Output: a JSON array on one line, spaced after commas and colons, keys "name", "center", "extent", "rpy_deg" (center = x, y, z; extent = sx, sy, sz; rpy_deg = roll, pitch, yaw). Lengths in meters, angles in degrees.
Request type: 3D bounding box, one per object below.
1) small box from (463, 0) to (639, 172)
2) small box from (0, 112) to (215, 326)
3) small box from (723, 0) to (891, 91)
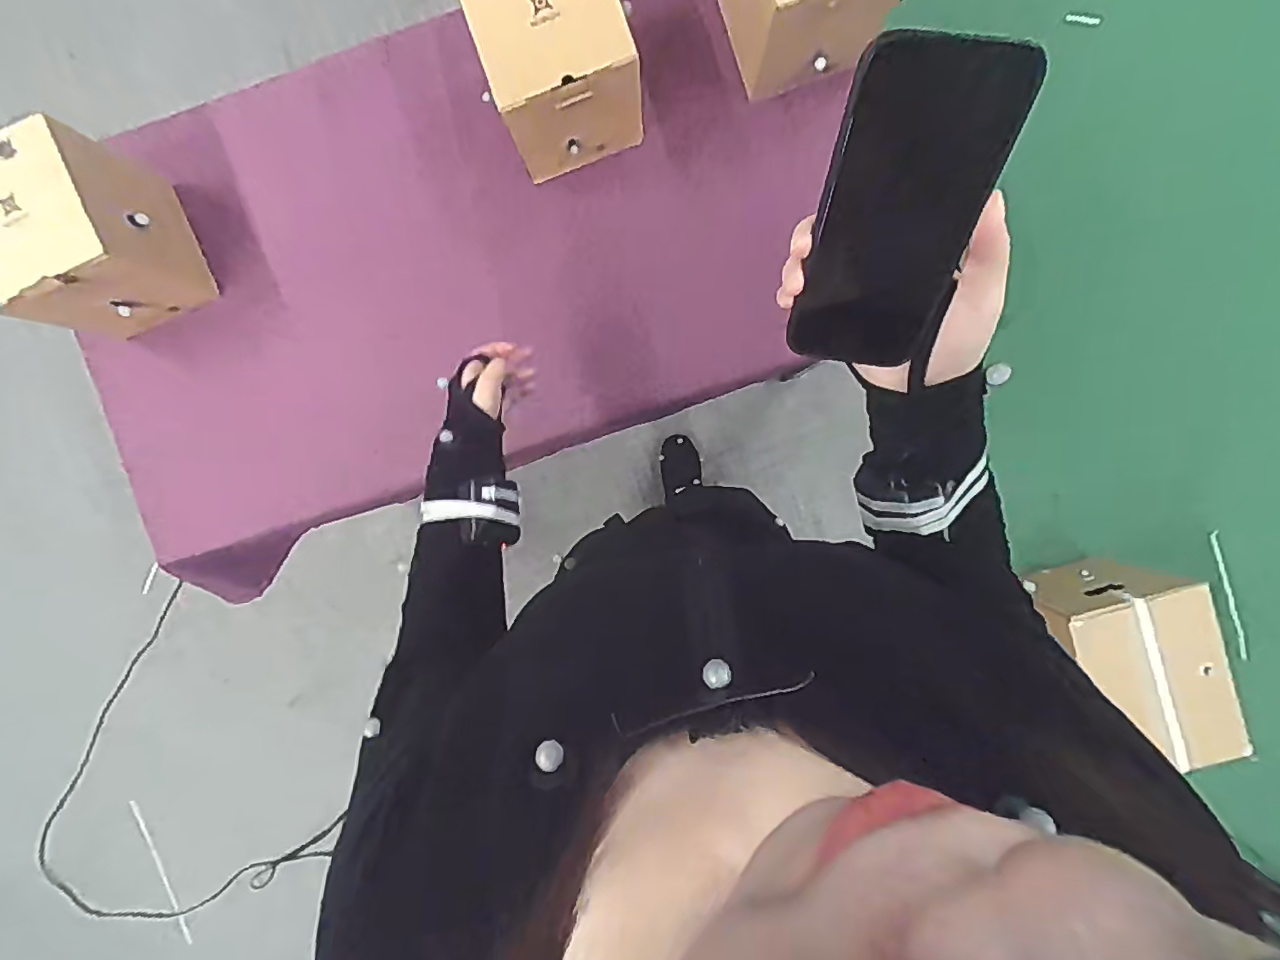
[{"name": "small box", "center": [-0.106, -0.526, 0.665], "extent": [0.168, 0.176, 0.179], "rpy_deg": [-20, 94, 3]}, {"name": "small box", "center": [-0.711, -0.314, 0.699], "extent": [0.168, 0.176, 0.179], "rpy_deg": [-23, 94, 2]}, {"name": "small box", "center": [0.197, -0.623, 0.644], "extent": [0.168, 0.176, 0.179], "rpy_deg": [-18, 93, 4]}]
